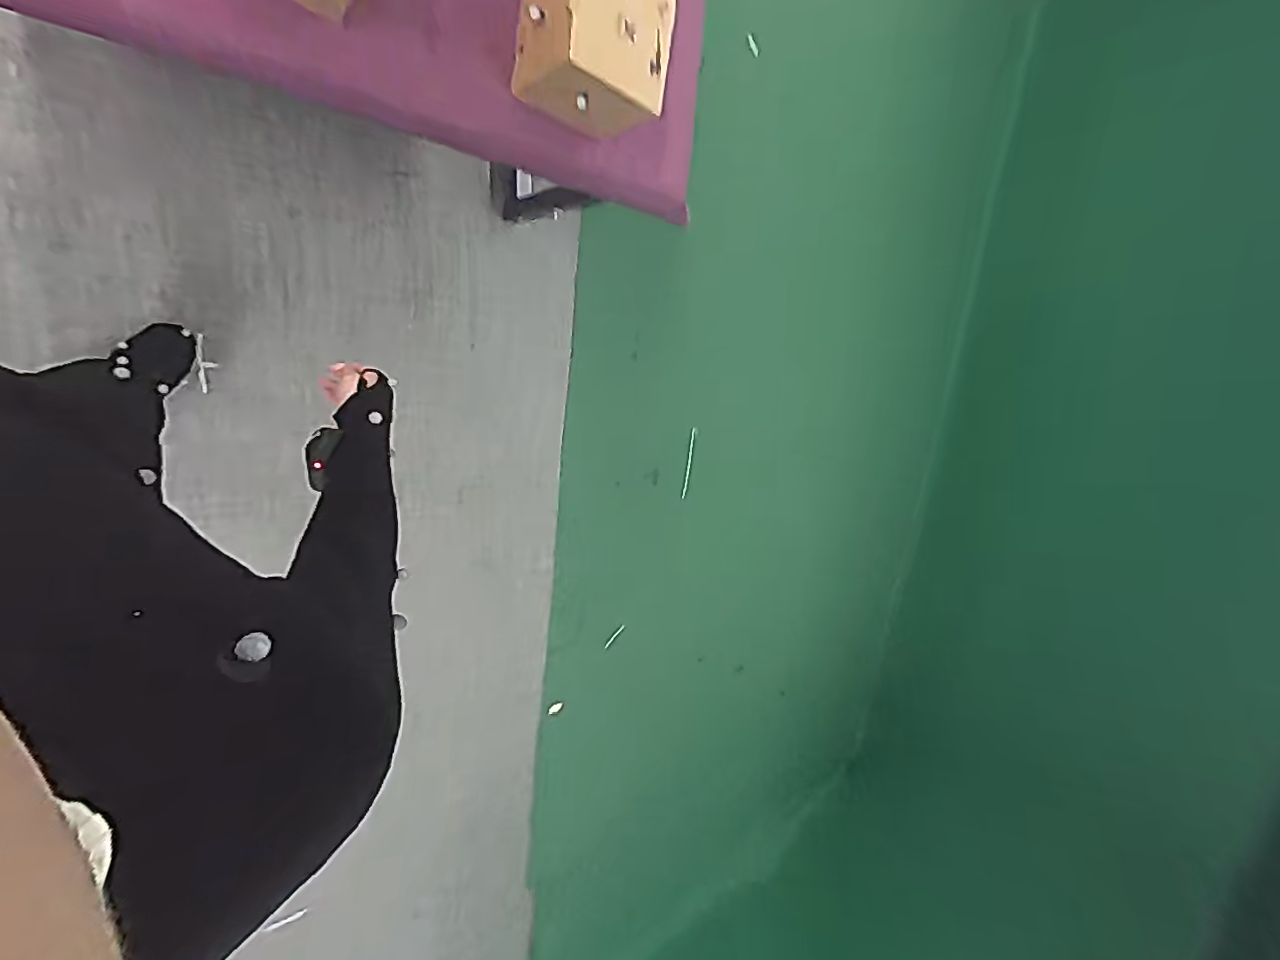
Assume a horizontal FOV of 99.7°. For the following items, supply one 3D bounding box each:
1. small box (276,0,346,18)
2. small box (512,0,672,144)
[{"bbox_3d":[-0.393,-0.645,0.572,0.179,0.176,0.168,6,99,-41],"label":"small box"},{"bbox_3d":[-0.080,-0.655,0.837,0.179,0.176,0.168,2,102,-40],"label":"small box"}]
